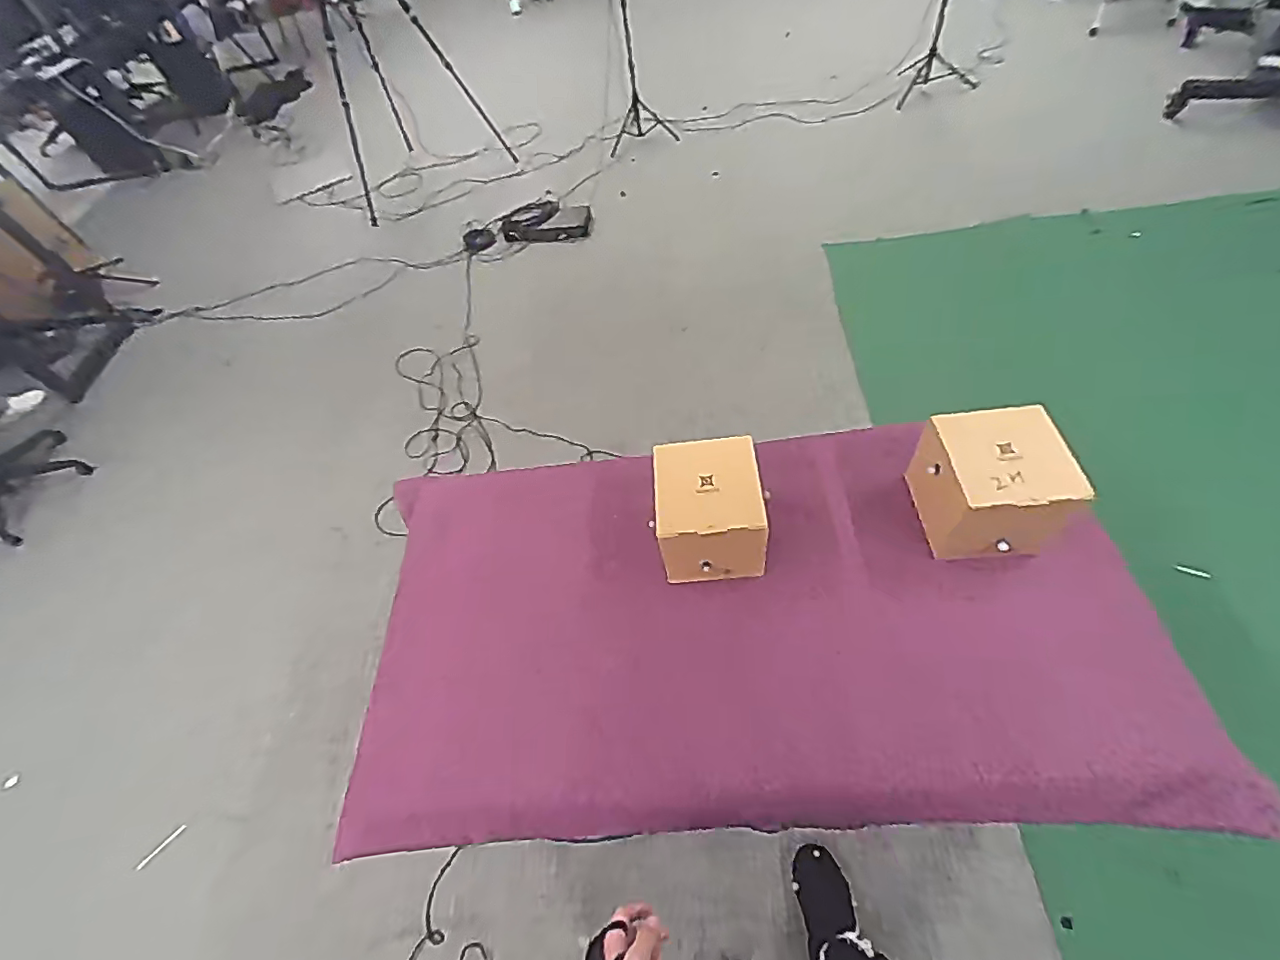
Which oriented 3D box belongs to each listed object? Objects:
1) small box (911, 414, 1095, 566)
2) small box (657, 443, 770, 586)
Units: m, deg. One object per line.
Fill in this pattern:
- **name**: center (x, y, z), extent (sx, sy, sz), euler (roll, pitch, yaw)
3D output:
- **small box**: center (0.554, 0.019, 0.861), extent (0.168, 0.176, 0.179), euler (-5, 55, 7)
- **small box**: center (0.119, 0.061, 0.910), extent (0.168, 0.176, 0.179), euler (-5, 55, 5)
